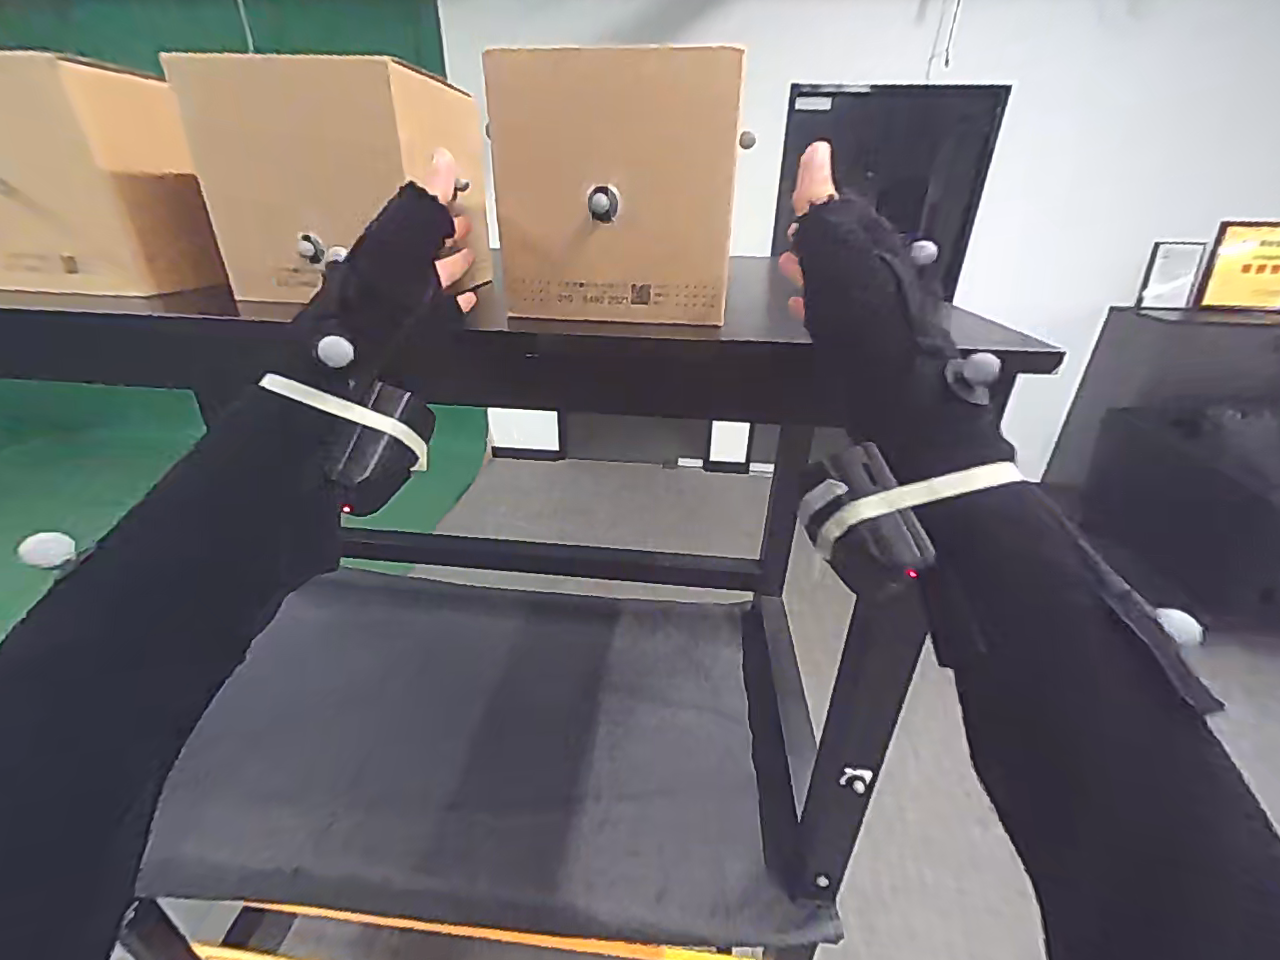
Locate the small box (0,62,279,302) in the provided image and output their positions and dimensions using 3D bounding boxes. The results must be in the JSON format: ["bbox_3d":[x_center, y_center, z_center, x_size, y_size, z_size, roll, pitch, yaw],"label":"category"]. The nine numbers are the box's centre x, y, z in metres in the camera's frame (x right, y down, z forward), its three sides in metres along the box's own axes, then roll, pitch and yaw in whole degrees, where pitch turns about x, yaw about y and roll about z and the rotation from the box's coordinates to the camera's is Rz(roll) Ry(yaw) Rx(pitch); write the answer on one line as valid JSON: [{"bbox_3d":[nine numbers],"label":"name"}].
[{"bbox_3d":[-0.483,-0.266,0.505,0.168,0.176,0.179,4,27,6],"label":"small box"}]

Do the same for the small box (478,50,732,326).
[{"bbox_3d":[-0.013,-0.229,0.445,0.168,0.176,0.179,5,27,6],"label":"small box"}]
